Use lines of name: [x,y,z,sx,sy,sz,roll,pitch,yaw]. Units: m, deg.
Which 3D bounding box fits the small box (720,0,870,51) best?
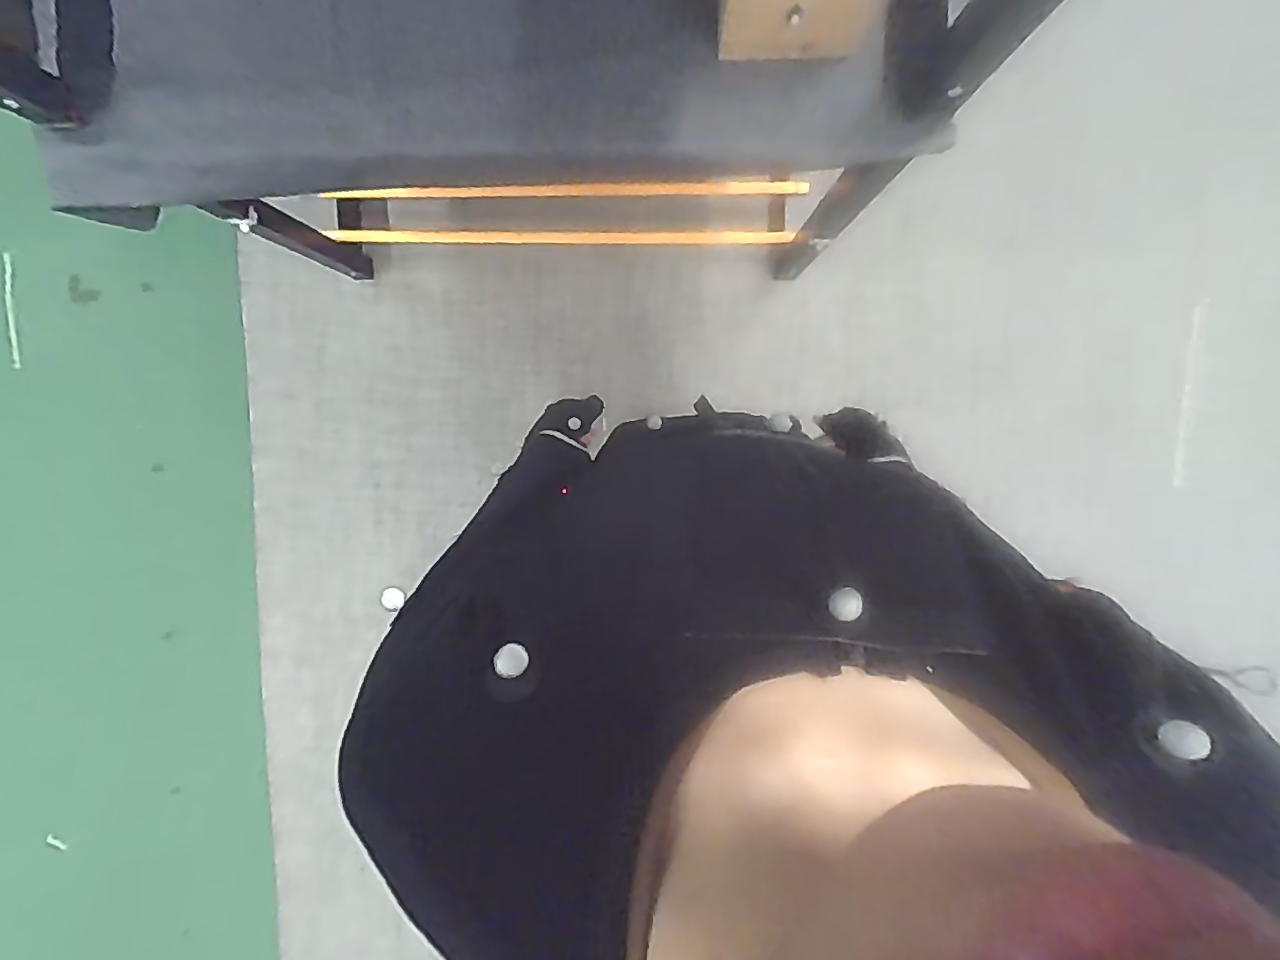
small box: [0.180,-0.612,0.592,0.168,0.176,0.179,1,96,2]
